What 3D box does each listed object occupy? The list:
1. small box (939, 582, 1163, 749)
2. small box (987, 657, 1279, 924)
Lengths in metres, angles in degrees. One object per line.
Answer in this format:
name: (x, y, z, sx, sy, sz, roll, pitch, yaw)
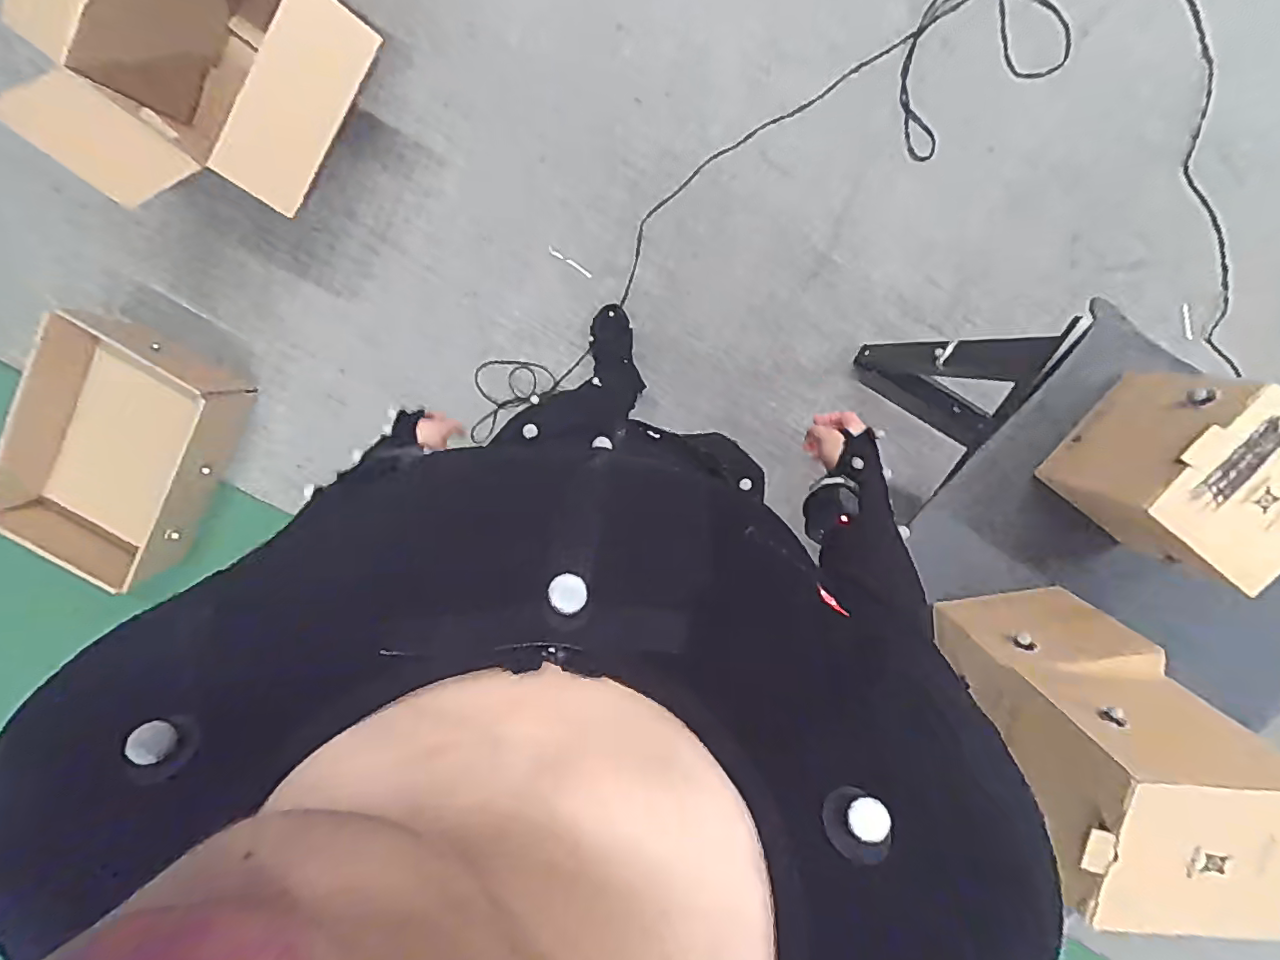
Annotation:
small box: (0.511, 0.248, 0.701, 0.179, 0.176, 0.168, -10, 104, 3)
small box: (0.493, 0.297, 0.546, 0.179, 0.176, 0.168, 2, 105, 0)
